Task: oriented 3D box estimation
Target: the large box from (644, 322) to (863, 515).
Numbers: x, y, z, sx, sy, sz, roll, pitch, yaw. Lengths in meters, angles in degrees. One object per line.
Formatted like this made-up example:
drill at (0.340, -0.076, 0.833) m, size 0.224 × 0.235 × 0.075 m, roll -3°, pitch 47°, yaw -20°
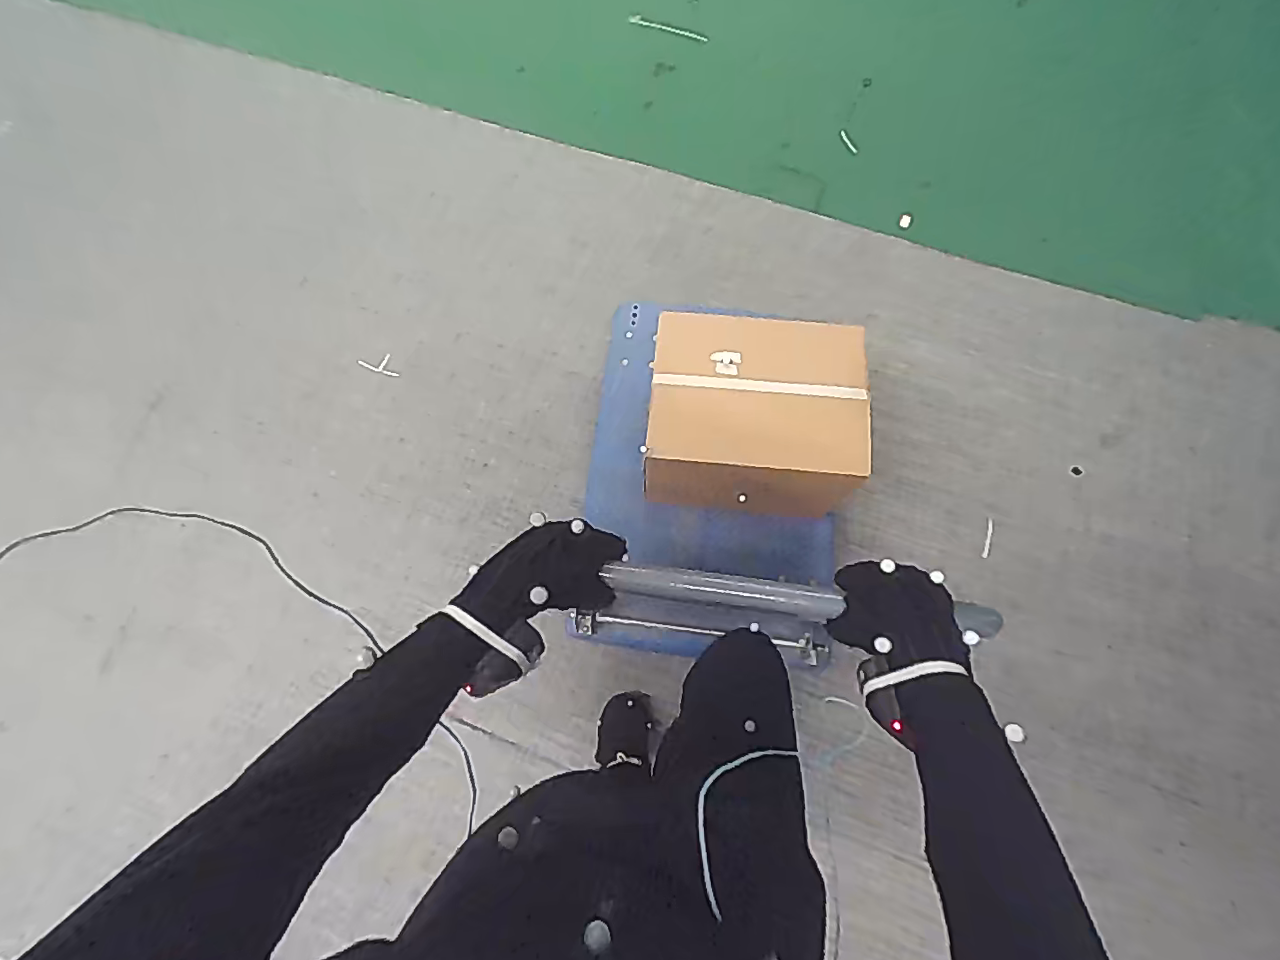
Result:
large box at (0.225, -0.116, 1.171) m, size 0.408 × 0.320 × 0.320 m, roll 5°, pitch 71°, yaw 4°
